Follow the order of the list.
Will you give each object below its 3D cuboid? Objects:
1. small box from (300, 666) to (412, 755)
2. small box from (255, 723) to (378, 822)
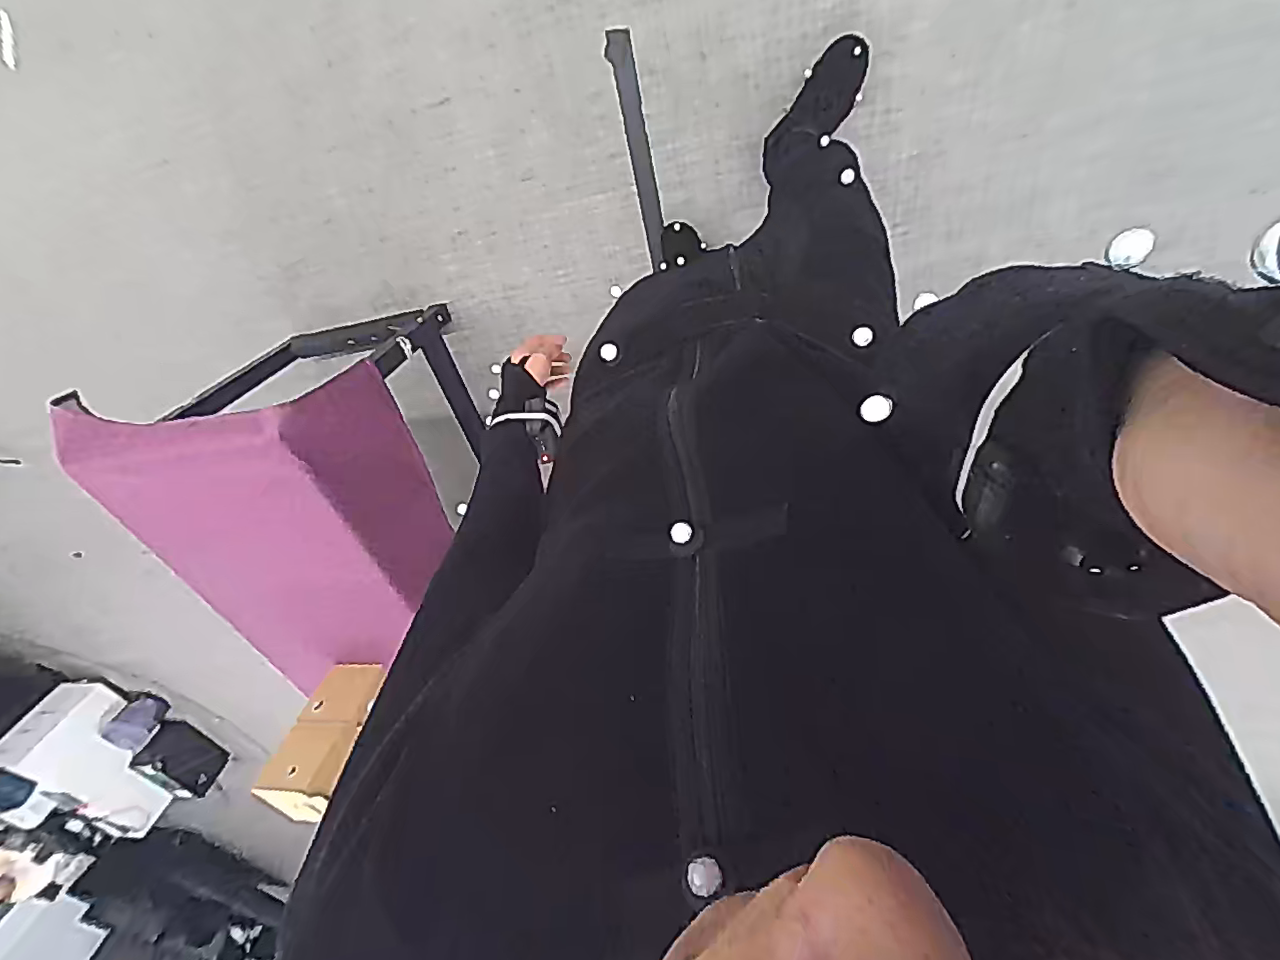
[{"bbox_3d":[-0.768,0.627,1.482,0.179,0.176,0.168,-6,127,15],"label":"small box"},{"bbox_3d":[-0.794,0.729,1.355,0.179,0.176,0.168,-9,125,19],"label":"small box"}]
